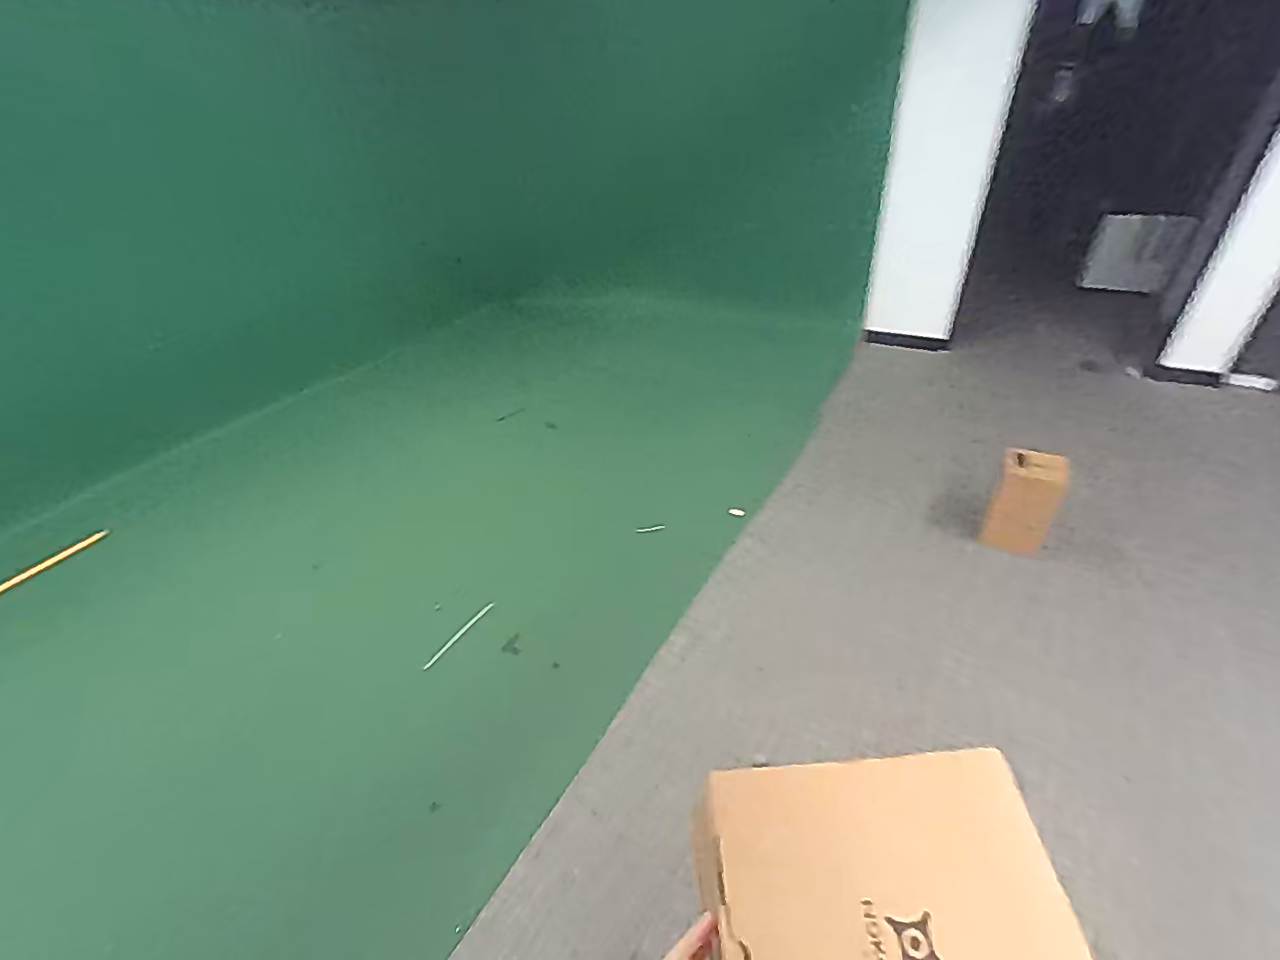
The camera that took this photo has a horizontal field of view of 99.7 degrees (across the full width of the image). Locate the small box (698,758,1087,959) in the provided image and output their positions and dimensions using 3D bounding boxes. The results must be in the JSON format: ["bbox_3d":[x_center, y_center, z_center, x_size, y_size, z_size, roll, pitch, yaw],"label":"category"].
[{"bbox_3d":[0.136,0.283,0.332,0.179,0.176,0.168,-6,52,-1],"label":"small box"}]
